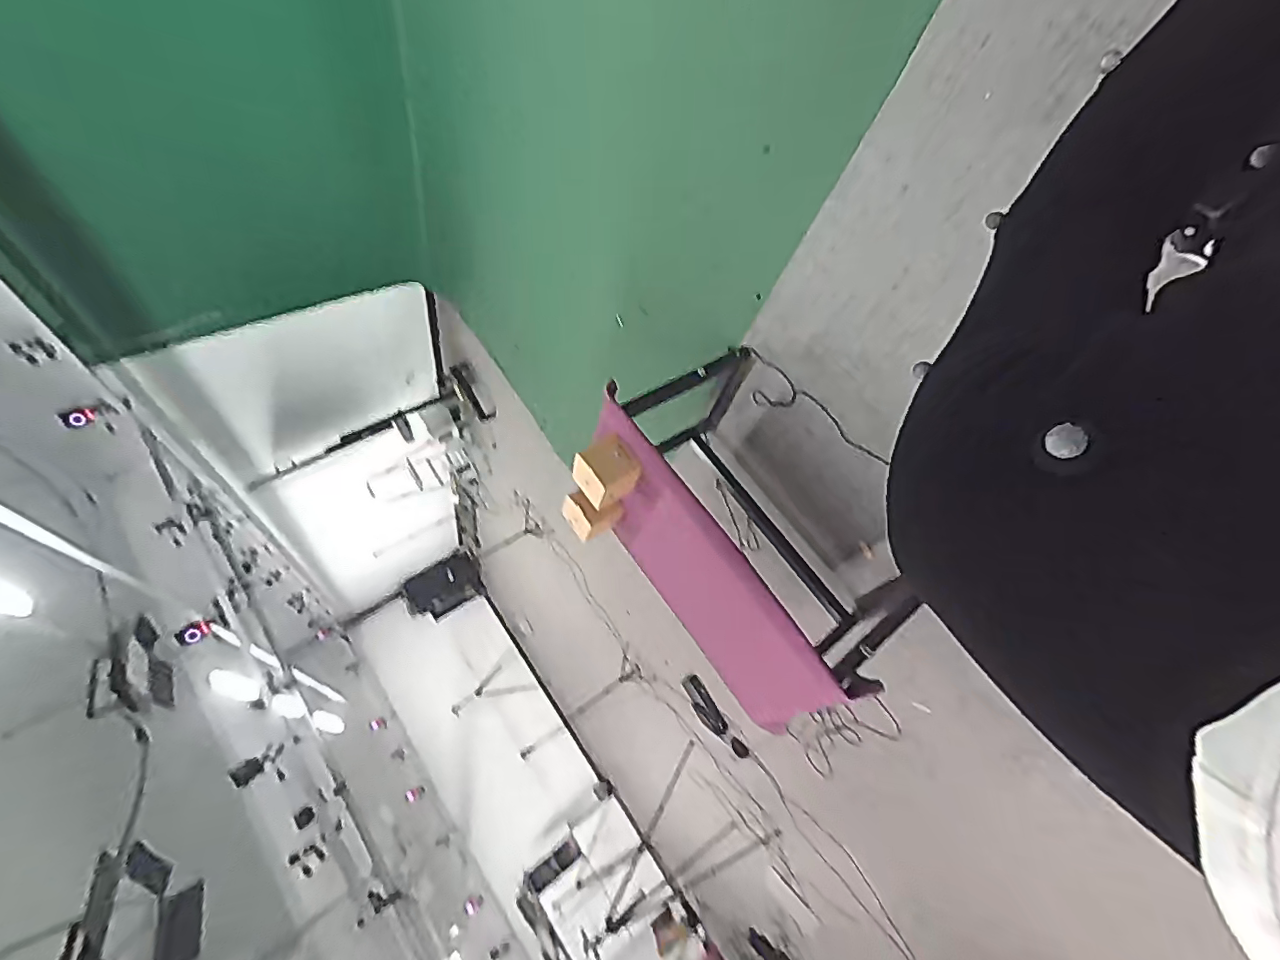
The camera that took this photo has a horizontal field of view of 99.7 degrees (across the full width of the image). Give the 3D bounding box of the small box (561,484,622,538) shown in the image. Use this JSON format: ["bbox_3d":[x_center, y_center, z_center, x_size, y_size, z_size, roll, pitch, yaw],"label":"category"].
[{"bbox_3d":[-0.197,0.102,2.200,0.168,0.176,0.179,53,149,14],"label":"small box"}]

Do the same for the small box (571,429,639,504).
[{"bbox_3d":[-0.124,-0.049,1.932,0.168,0.176,0.179,51,152,14],"label":"small box"}]
